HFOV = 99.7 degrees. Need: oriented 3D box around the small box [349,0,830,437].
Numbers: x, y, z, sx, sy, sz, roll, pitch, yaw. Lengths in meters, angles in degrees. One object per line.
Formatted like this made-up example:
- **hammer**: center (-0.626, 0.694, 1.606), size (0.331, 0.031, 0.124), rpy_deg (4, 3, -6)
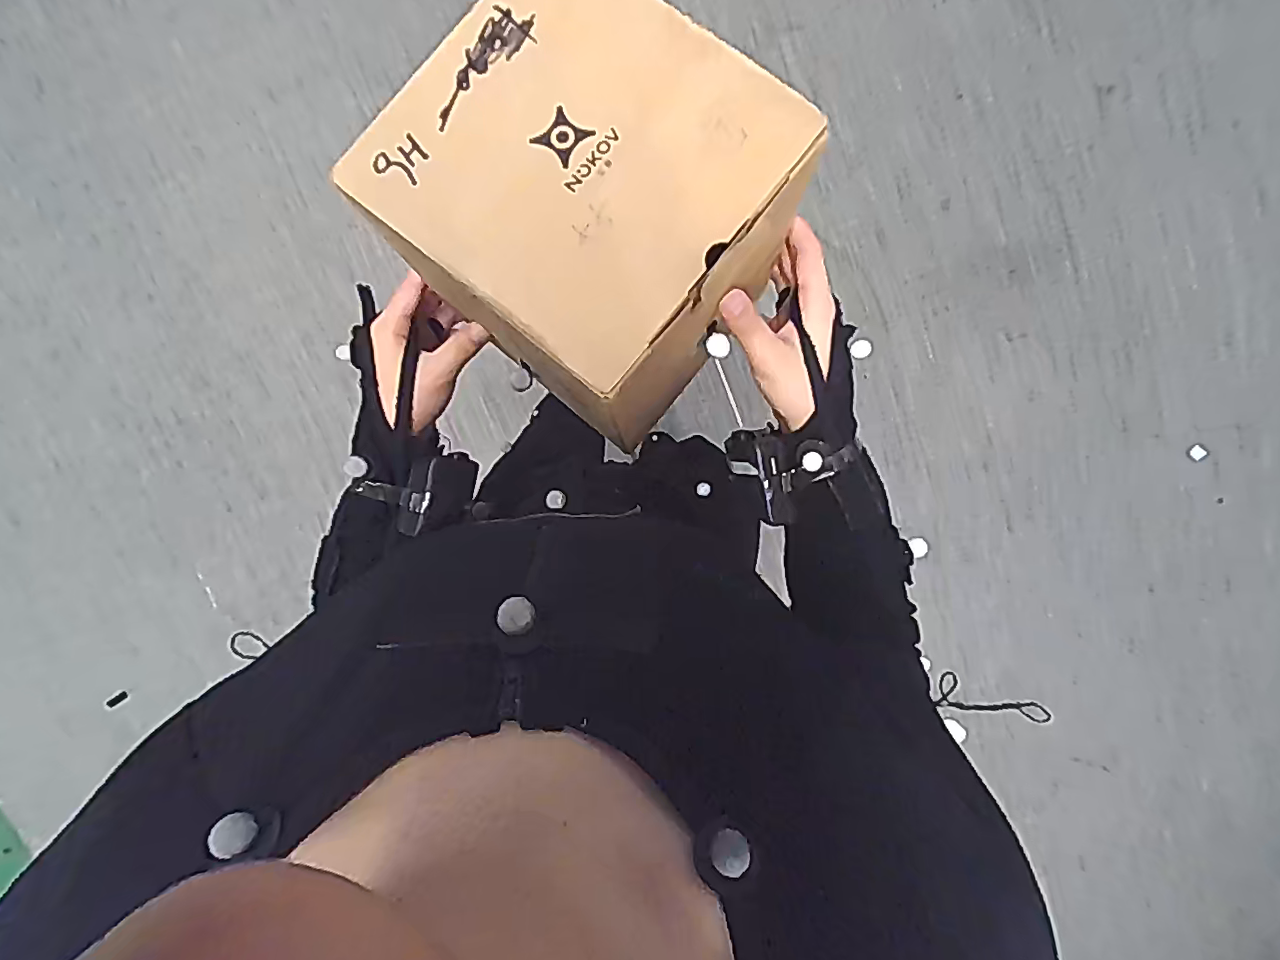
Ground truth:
- **small box**: center (-0.023, -0.143, 0.338), size (0.179, 0.176, 0.168), rpy_deg (40, 86, 4)
